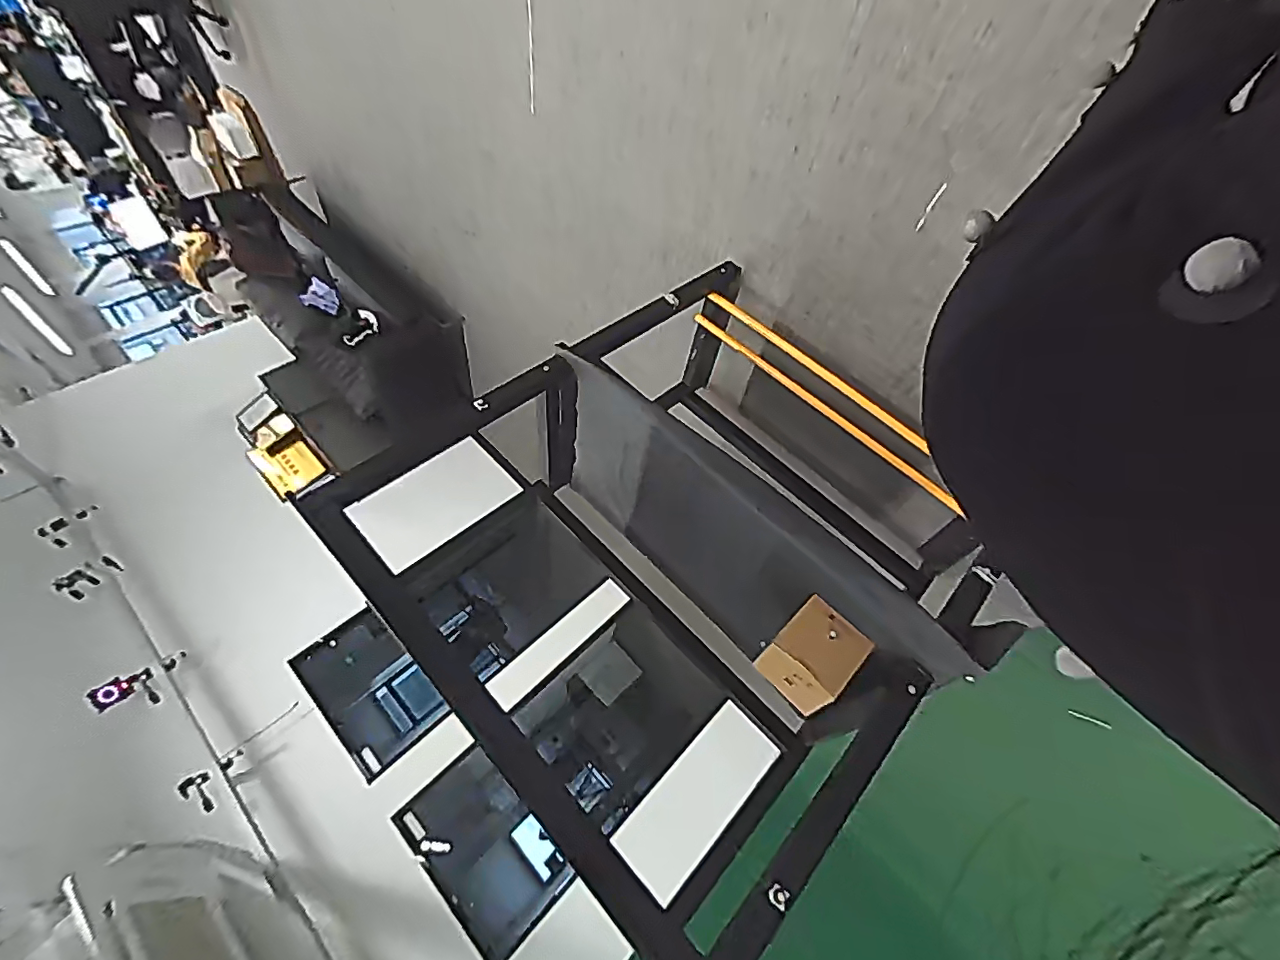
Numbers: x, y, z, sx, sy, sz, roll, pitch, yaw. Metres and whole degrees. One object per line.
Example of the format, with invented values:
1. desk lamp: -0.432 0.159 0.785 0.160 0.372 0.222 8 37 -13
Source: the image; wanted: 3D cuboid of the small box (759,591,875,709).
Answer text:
1. small box: 0.407 0.390 1.248 0.168 0.176 0.179 41 150 20
